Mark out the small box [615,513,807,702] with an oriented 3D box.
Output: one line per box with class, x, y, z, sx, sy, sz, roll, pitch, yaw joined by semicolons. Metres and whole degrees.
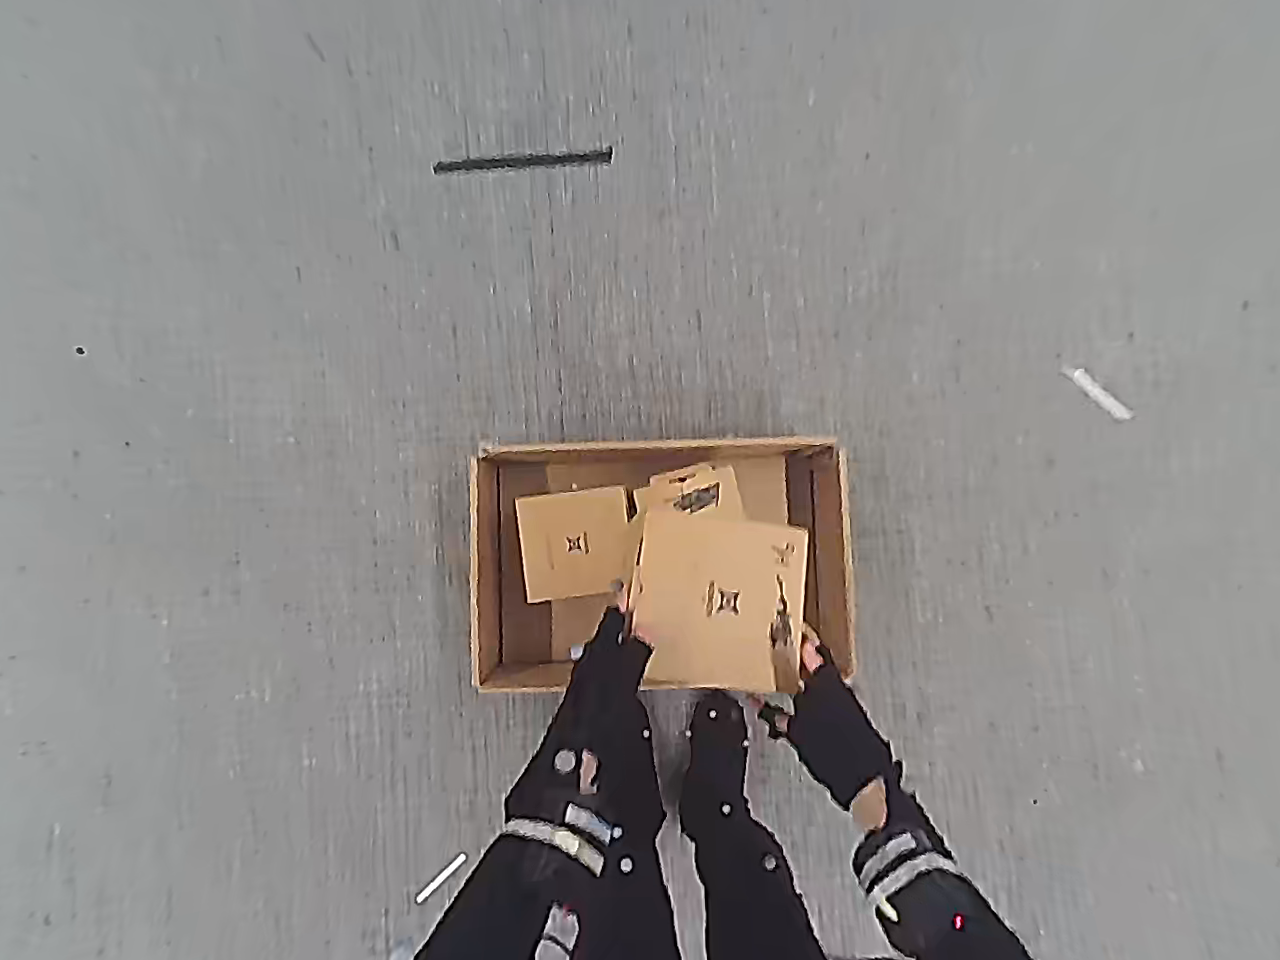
small box;0.068;0.139;0.607;0.179;0.176;0.168;8;78;-4
